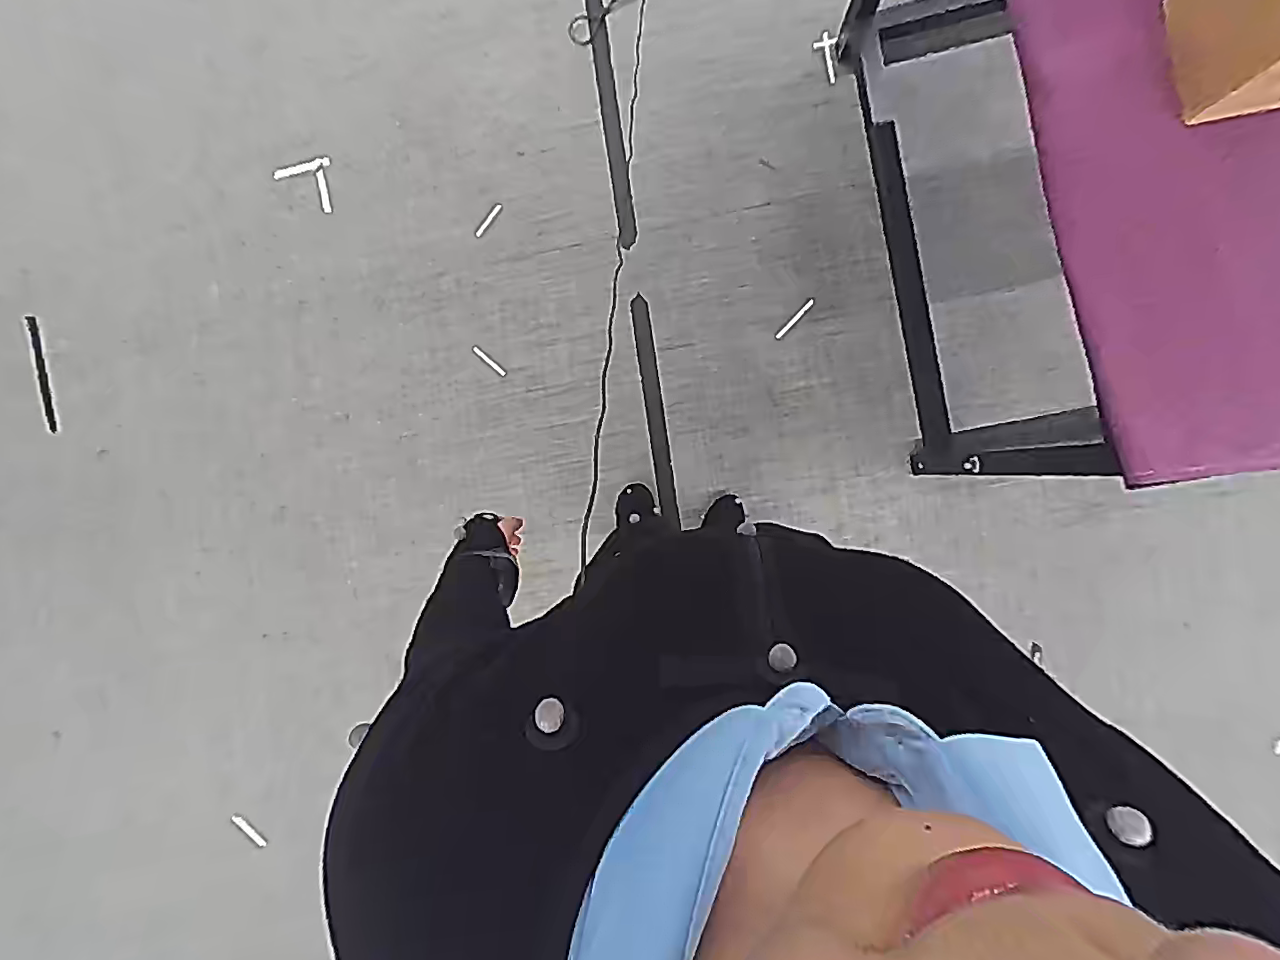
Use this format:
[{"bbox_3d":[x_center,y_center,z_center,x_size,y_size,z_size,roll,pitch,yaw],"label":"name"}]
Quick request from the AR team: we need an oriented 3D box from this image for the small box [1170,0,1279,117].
[{"bbox_3d":[0.782,-0.561,0.629,0.168,0.176,0.179,-9,90,5],"label":"small box"}]
